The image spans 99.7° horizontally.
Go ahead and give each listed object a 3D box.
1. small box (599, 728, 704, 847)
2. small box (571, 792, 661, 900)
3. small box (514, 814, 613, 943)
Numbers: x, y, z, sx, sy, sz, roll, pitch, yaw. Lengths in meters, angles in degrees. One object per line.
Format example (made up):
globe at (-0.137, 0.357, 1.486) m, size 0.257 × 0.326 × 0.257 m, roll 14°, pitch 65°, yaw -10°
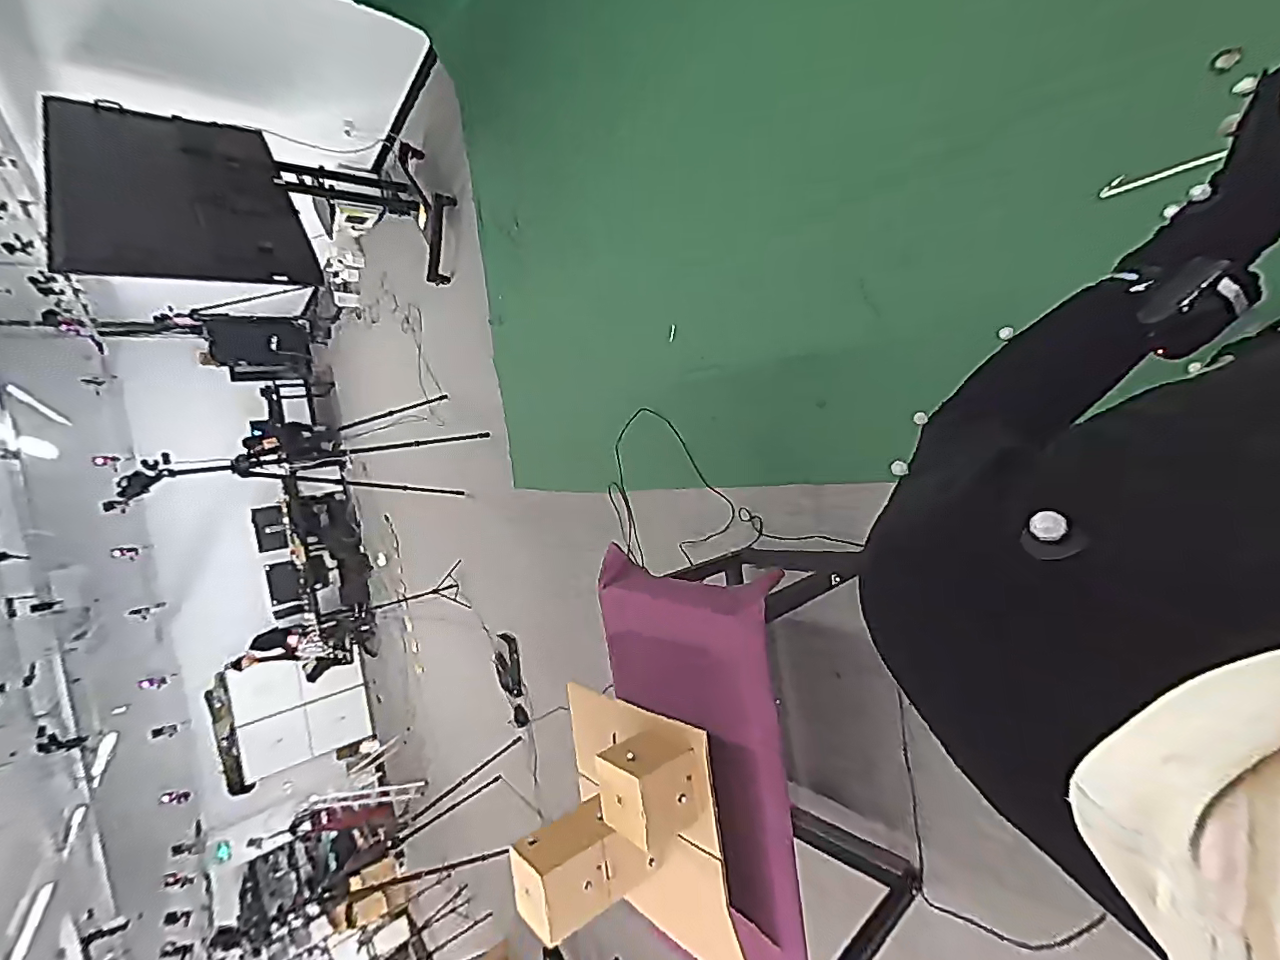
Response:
small box at (0.028, 0.717, 1.286) m, size 0.179 × 0.176 × 0.168 m, roll -8°, pitch 90°, yaw 50°
small box at (-0.059, 0.942, 1.428) m, size 0.179 × 0.176 × 0.168 m, roll -9°, pitch 89°, yaw 52°
small box at (-0.187, 0.960, 1.327) m, size 0.179 × 0.176 × 0.168 m, roll -9°, pitch 90°, yaw 50°
